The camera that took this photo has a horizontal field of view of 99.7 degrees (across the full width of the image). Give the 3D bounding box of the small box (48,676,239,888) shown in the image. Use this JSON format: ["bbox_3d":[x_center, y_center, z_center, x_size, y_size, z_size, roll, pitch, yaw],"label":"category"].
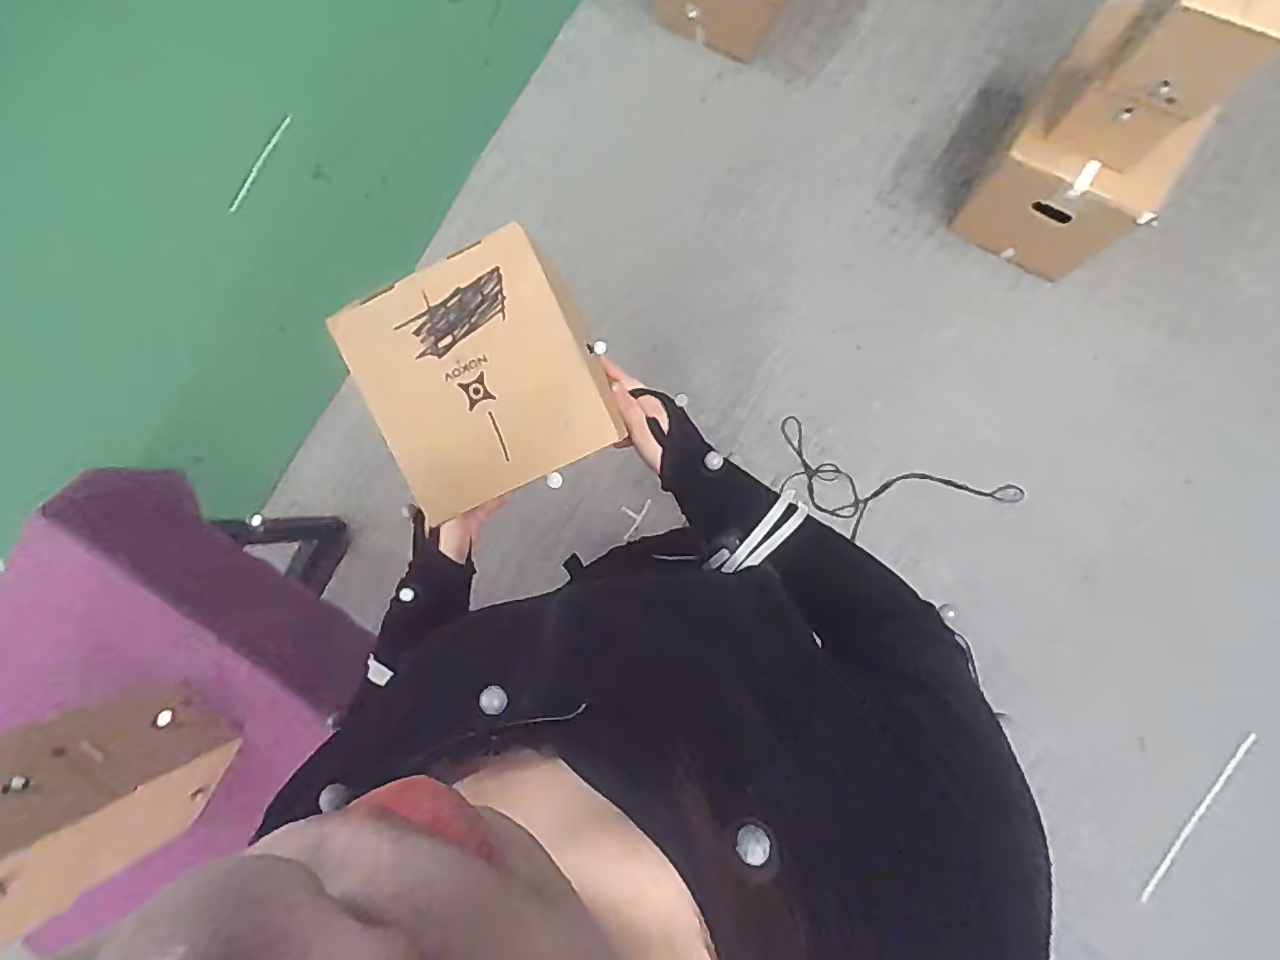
[{"bbox_3d":[-0.741,0.419,0.787,0.168,0.176,0.179,32,92,7],"label":"small box"}]

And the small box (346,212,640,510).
[{"bbox_3d":[-0.109,-0.095,0.482,0.168,0.176,0.179,-24,96,6],"label":"small box"}]

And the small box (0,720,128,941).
[{"bbox_3d":[-0.759,0.416,0.623,0.168,0.176,0.179,31,93,8],"label":"small box"}]

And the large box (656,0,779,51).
[{"bbox_3d":[0.254,-1.449,1.389,0.320,0.320,0.408,32,91,8],"label":"large box"}]

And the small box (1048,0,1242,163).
[{"bbox_3d":[0.944,-0.748,1.031,0.179,0.176,0.168,30,92,9],"label":"small box"}]
